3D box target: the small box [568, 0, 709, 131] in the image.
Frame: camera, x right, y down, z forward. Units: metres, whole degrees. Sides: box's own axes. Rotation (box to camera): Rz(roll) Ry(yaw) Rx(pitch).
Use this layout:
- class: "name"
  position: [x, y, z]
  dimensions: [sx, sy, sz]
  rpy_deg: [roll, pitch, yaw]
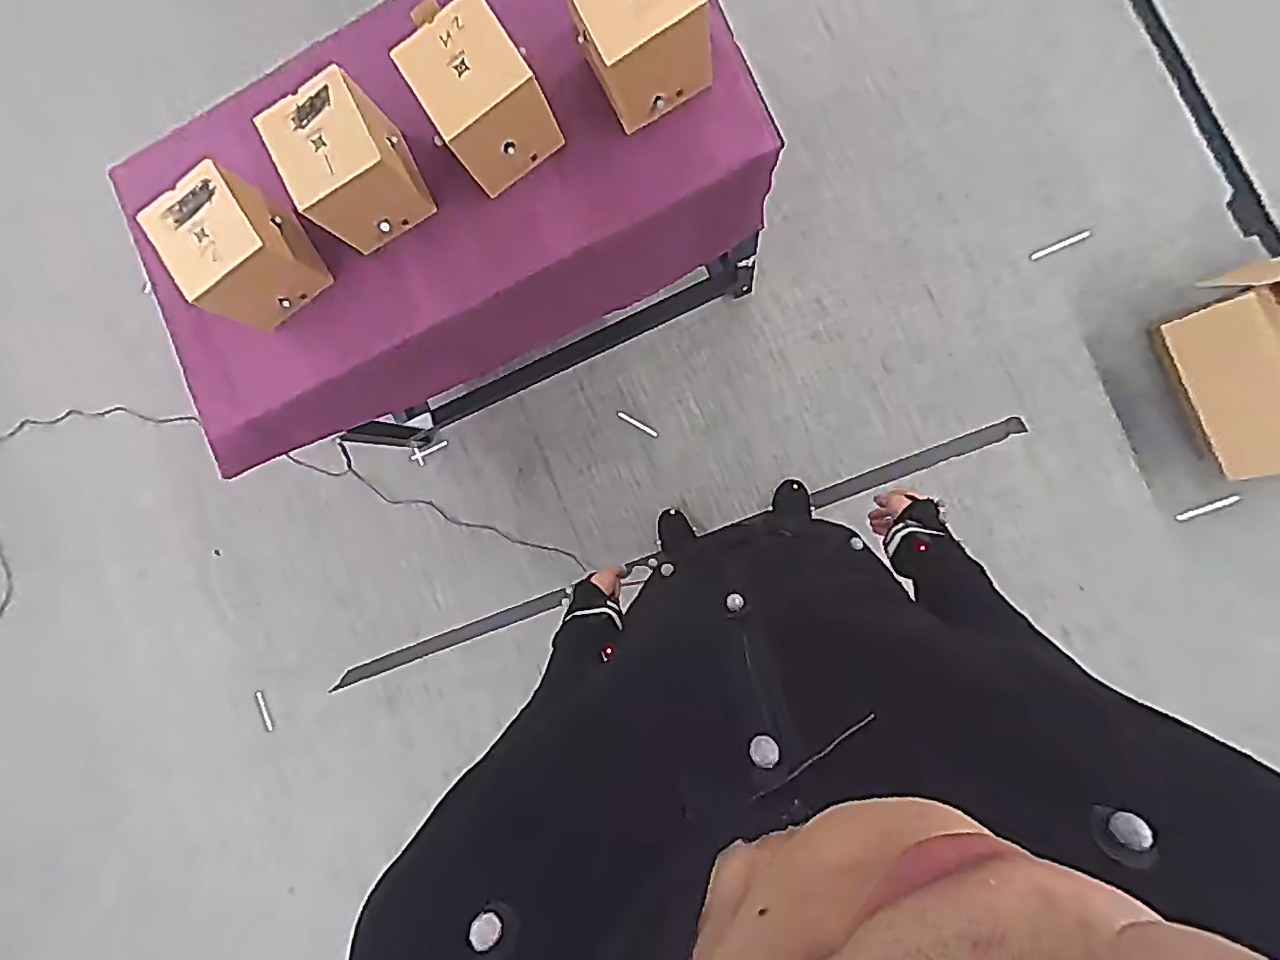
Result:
- class: "small box"
  position: [-0.002, -0.709, 0.853]
  dimensions: [0.168, 0.176, 0.179]
  rpy_deg: [-27, 85, 9]

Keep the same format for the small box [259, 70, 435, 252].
- class: "small box"
  position: [-0.492, -0.534, 0.931]
  dimensions: [0.168, 0.176, 0.179]
  rpy_deg: [-27, 87, 8]

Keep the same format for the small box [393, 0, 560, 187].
- class: "small box"
  position: [-0.257, -0.623, 0.893]
  dimensions: [0.168, 0.176, 0.179]
  rpy_deg: [-33, 85, 7]
